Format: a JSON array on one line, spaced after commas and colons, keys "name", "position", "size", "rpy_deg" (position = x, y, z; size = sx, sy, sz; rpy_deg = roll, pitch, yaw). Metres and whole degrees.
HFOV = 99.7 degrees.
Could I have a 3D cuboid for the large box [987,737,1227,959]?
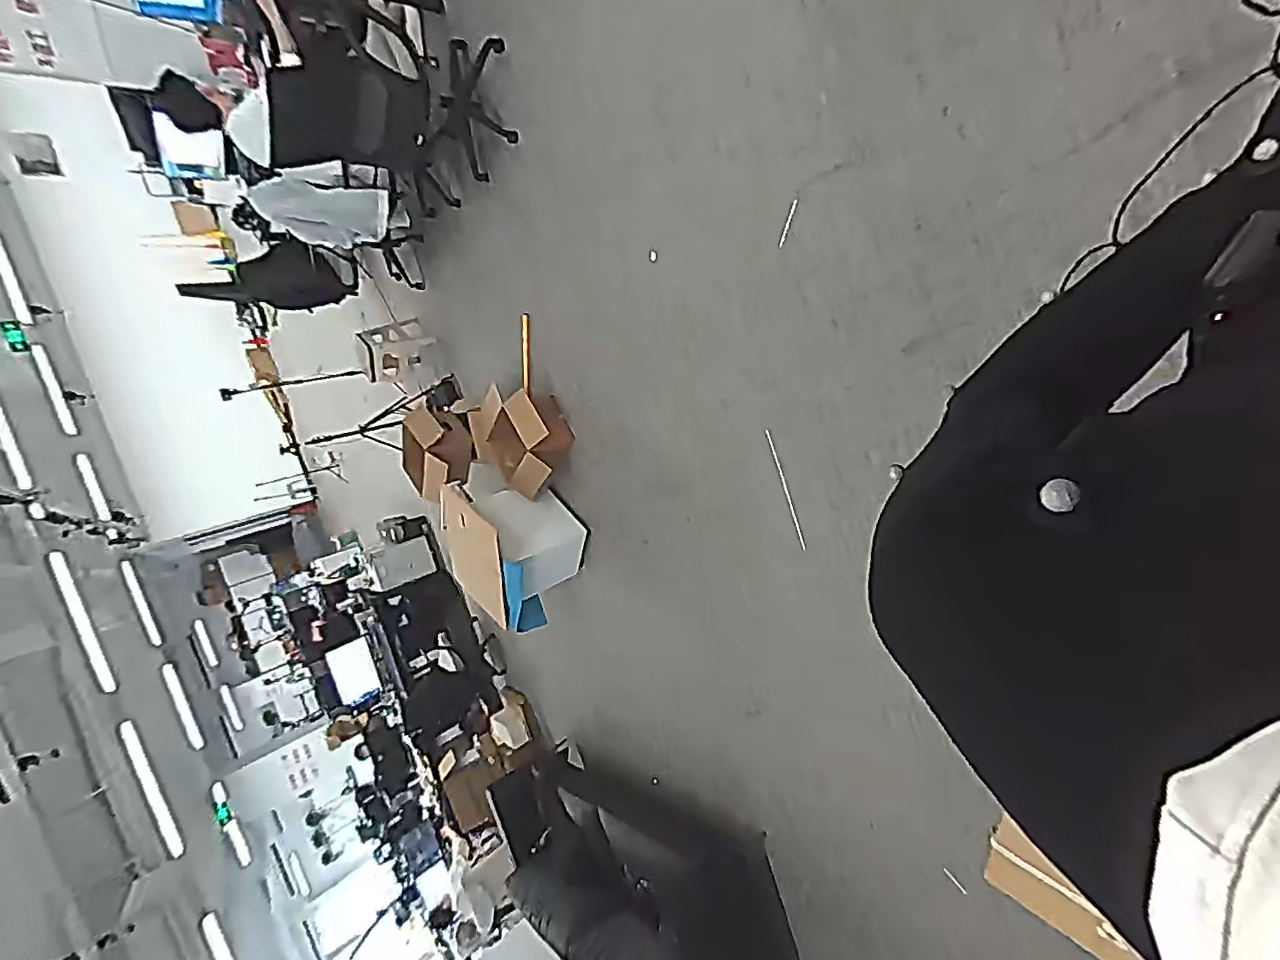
[{"name": "large box", "position": [1.216, 0.983, 1.434], "size": [0.408, 0.320, 0.320], "rpy_deg": [20, 122, 43]}]
